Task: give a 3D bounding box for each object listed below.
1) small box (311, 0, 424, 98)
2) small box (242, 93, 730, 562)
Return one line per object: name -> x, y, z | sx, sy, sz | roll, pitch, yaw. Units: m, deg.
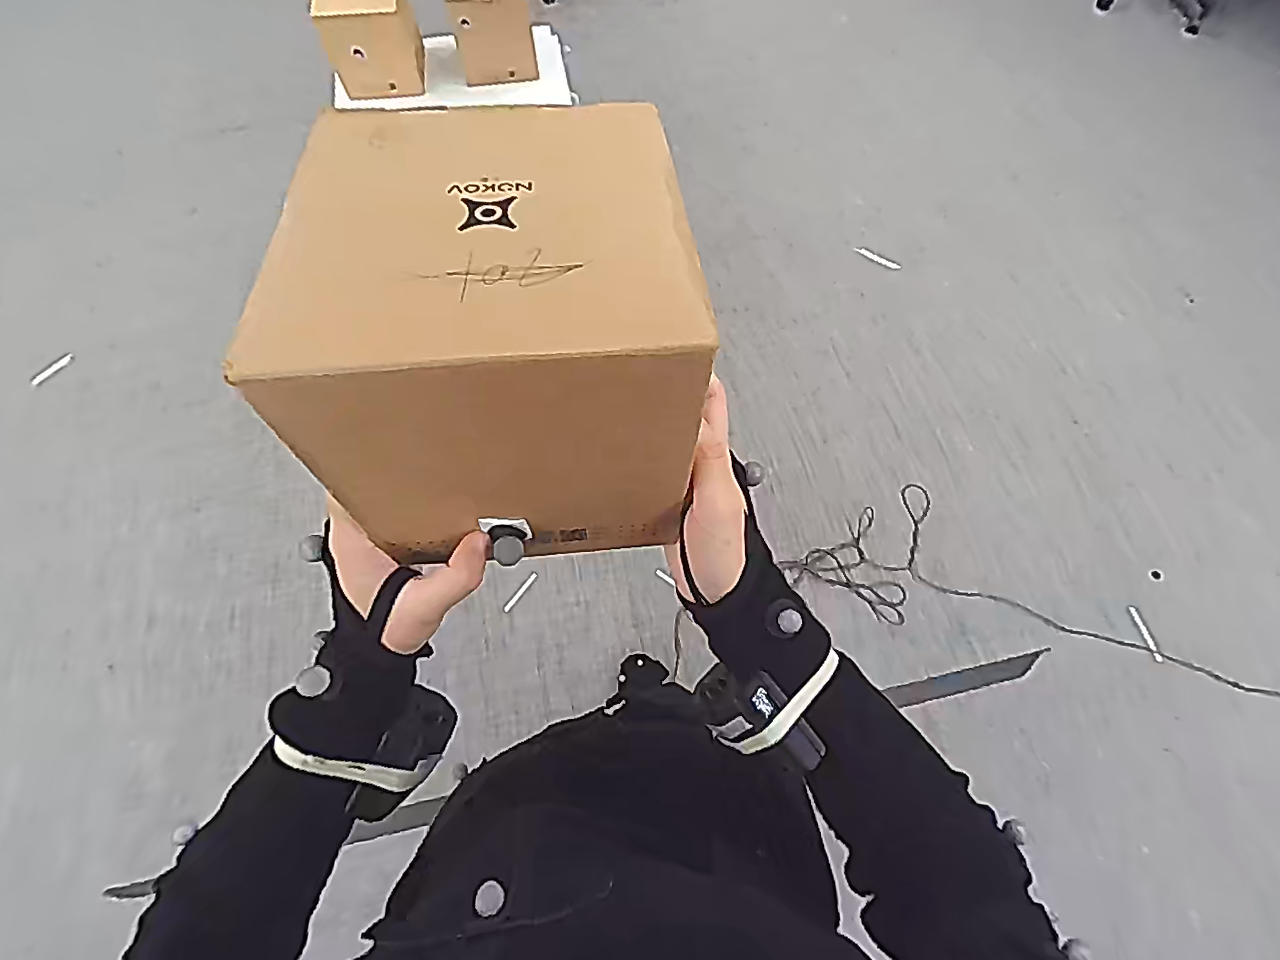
small box -> -0.573, -0.955, 1.161 | 0.168, 0.176, 0.179 | -7, 69, -4
small box -> -0.061, -0.074, 0.293 | 0.168, 0.176, 0.179 | -6, 59, -5
